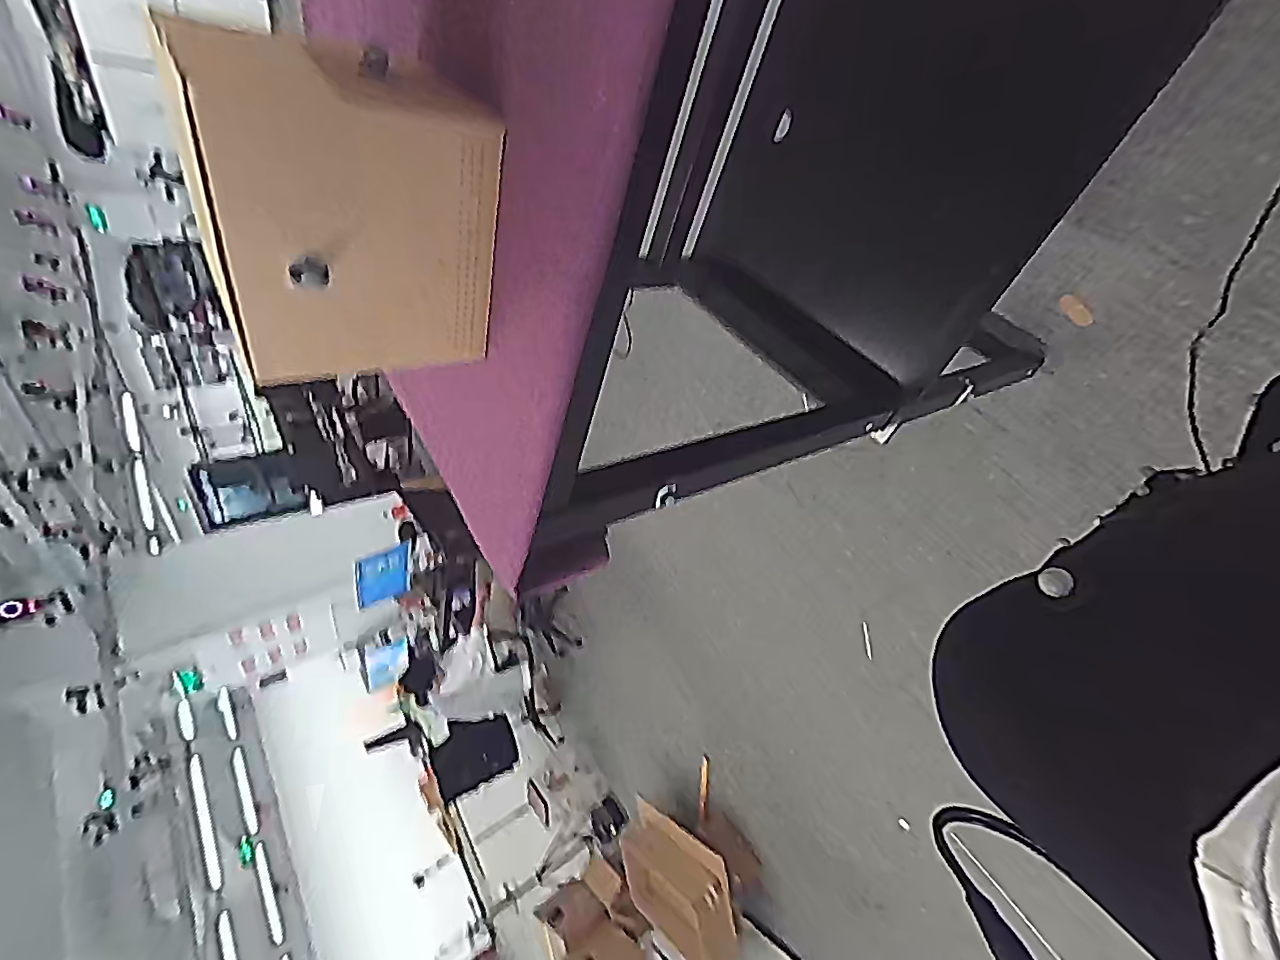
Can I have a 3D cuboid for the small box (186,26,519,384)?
[{"bbox_3d":[-0.206,-0.199,0.410,0.168,0.176,0.179,49,138,30],"label":"small box"}]
